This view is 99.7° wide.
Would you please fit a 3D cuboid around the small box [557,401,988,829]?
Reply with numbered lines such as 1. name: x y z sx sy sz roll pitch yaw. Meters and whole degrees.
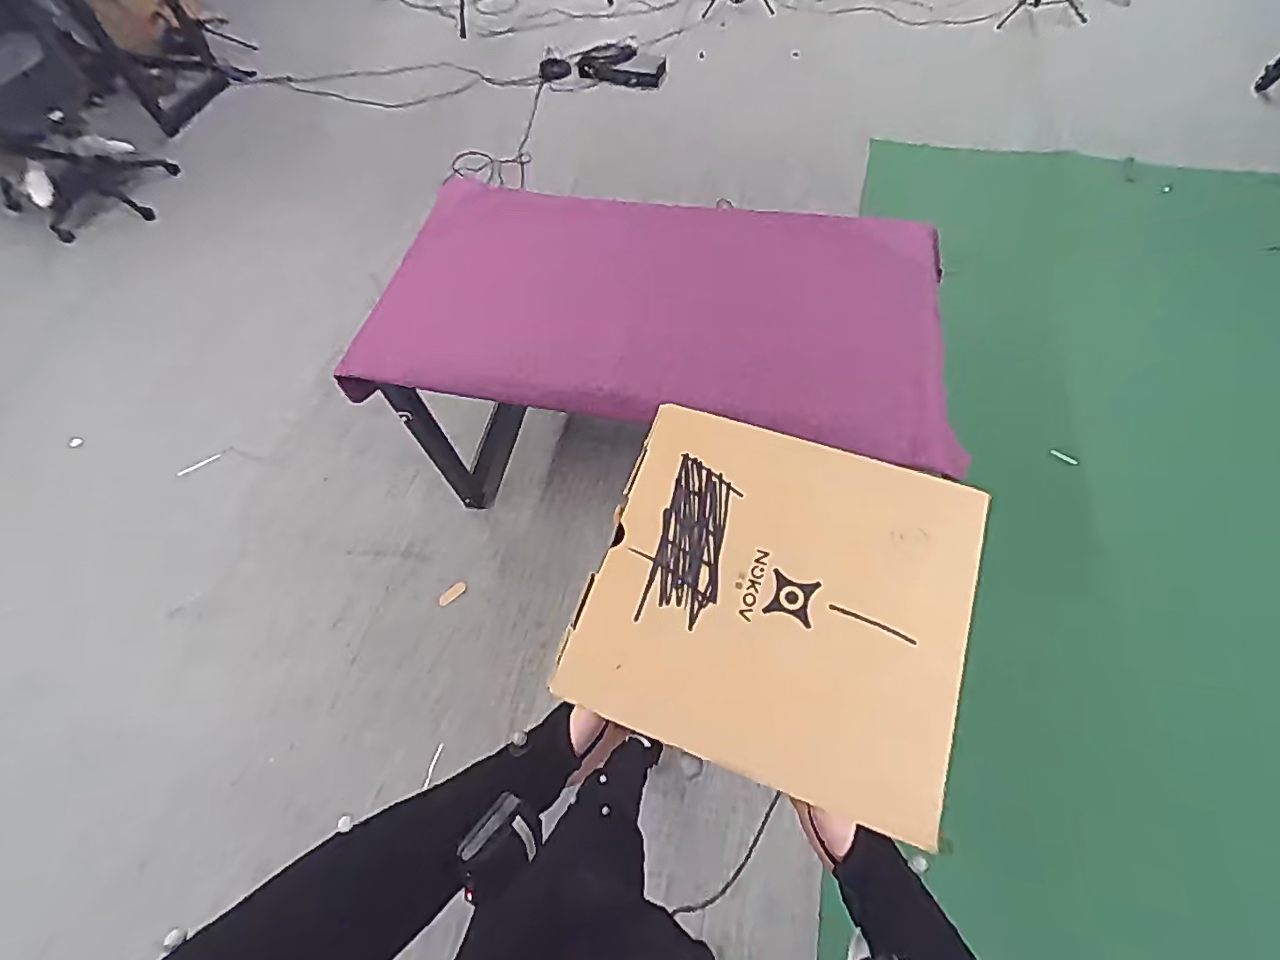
1. small box: 0.075 0.080 0.339 0.179 0.176 0.168 18 71 12
